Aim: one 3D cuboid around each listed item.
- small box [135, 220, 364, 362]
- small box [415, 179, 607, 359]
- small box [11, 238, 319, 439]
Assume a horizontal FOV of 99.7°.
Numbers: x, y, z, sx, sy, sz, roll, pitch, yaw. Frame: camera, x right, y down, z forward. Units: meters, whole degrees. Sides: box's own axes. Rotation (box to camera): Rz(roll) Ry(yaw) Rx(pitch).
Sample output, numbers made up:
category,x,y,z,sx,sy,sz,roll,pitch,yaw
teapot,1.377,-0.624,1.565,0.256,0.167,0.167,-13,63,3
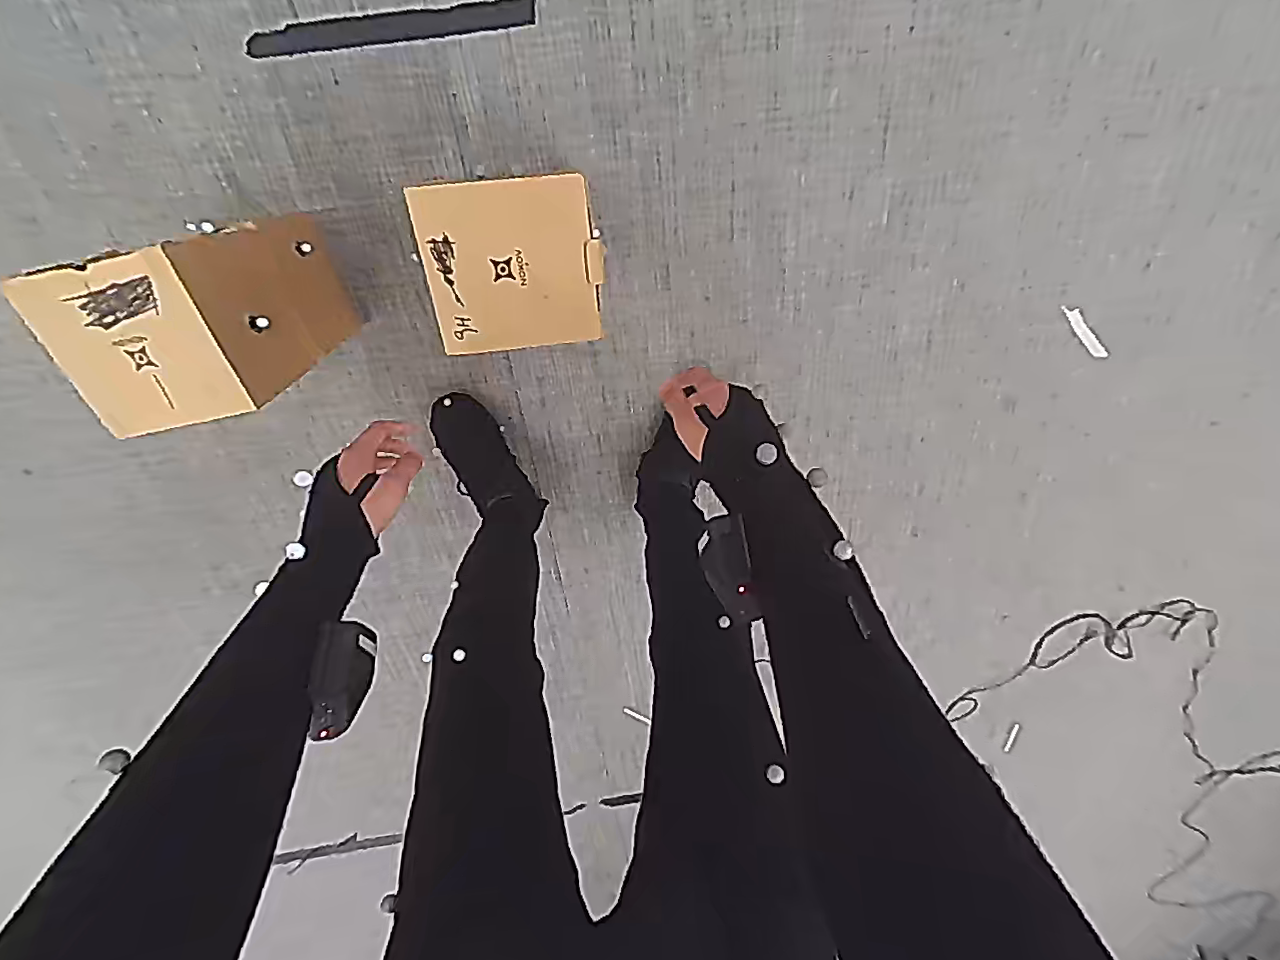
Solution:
category,x,y,z,sx,sy,sz,roll,pitch,yaw
small box,-0.530,-0.260,0.767,0.168,0.176,0.179,-13,121,1
small box,-0.137,-0.251,0.629,0.179,0.176,0.168,-6,120,-5
small box,-0.519,-0.173,0.628,0.168,0.176,0.179,-11,121,0
